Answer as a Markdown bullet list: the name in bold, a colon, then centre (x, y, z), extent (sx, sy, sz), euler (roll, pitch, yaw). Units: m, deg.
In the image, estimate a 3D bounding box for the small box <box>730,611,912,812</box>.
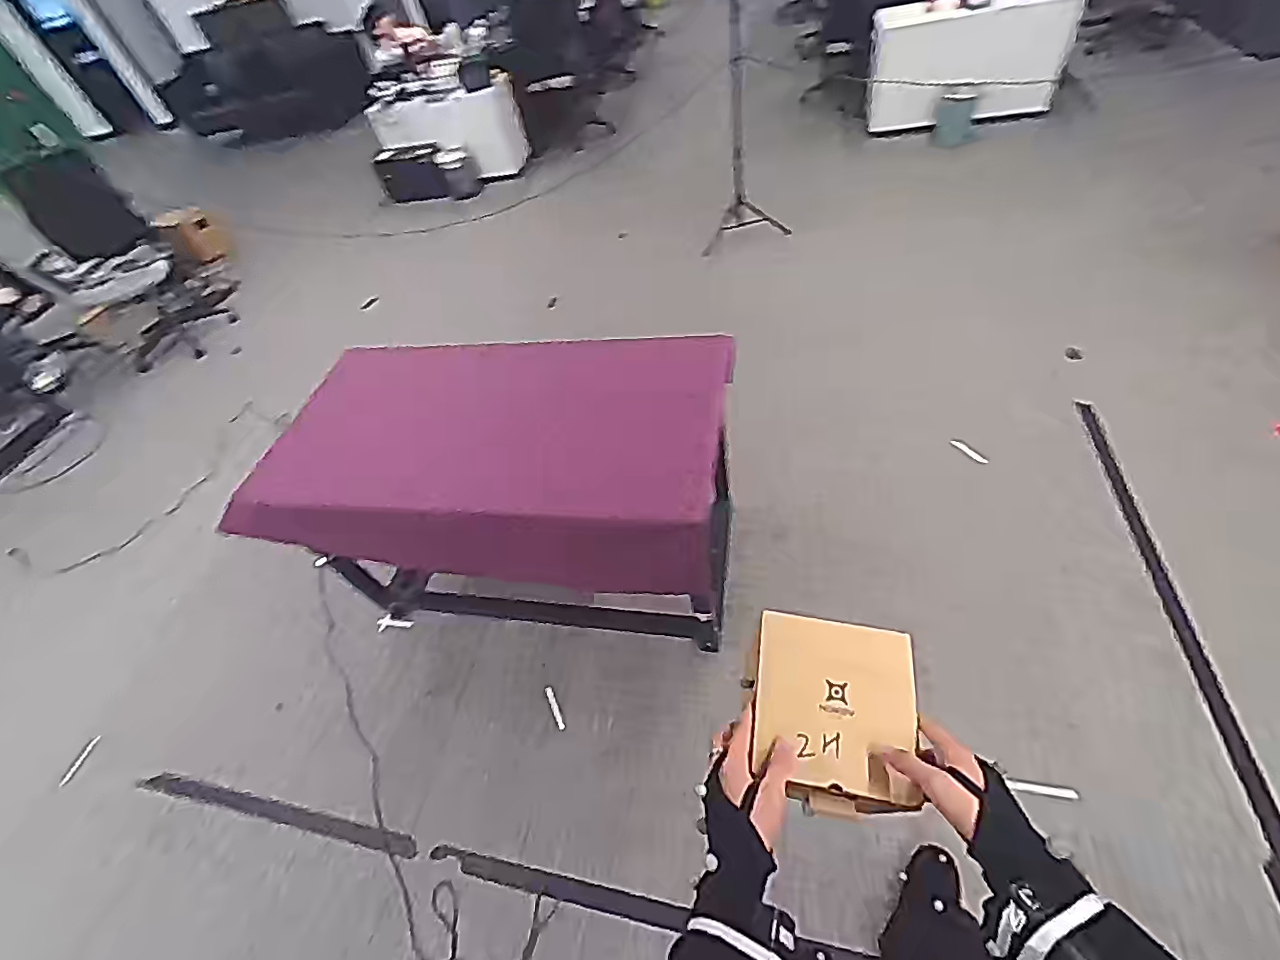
- **small box**: centre (0.201, 0.278, 0.643), extent (0.168, 0.176, 0.179), euler (7, 58, 8)
